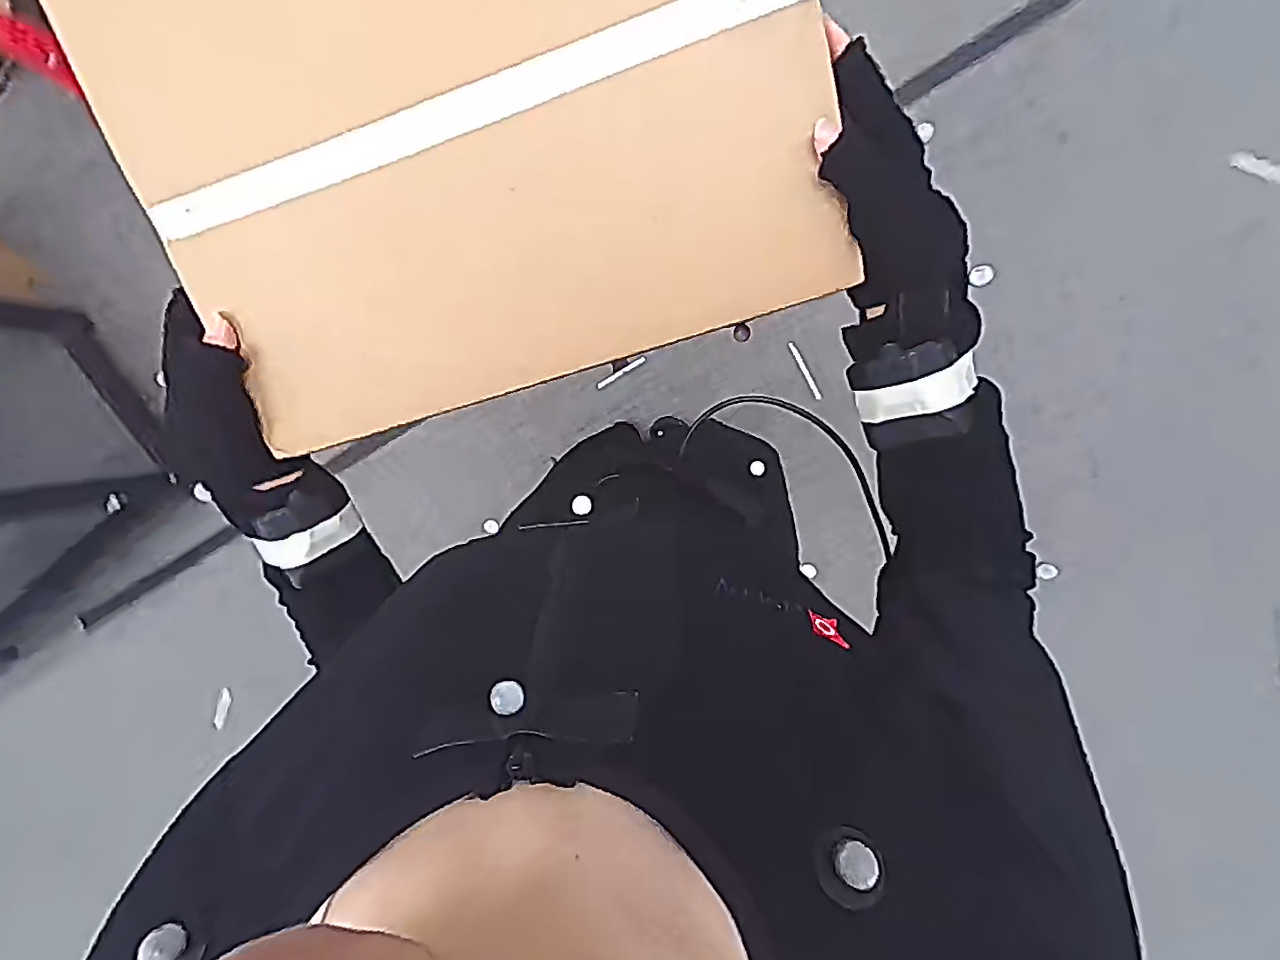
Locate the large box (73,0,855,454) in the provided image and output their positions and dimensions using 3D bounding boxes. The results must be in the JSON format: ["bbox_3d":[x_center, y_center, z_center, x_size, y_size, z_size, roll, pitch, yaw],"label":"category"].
[{"bbox_3d":[-0.089,-0.255,0.459,0.408,0.320,0.320,-15,106,8],"label":"large box"}]
